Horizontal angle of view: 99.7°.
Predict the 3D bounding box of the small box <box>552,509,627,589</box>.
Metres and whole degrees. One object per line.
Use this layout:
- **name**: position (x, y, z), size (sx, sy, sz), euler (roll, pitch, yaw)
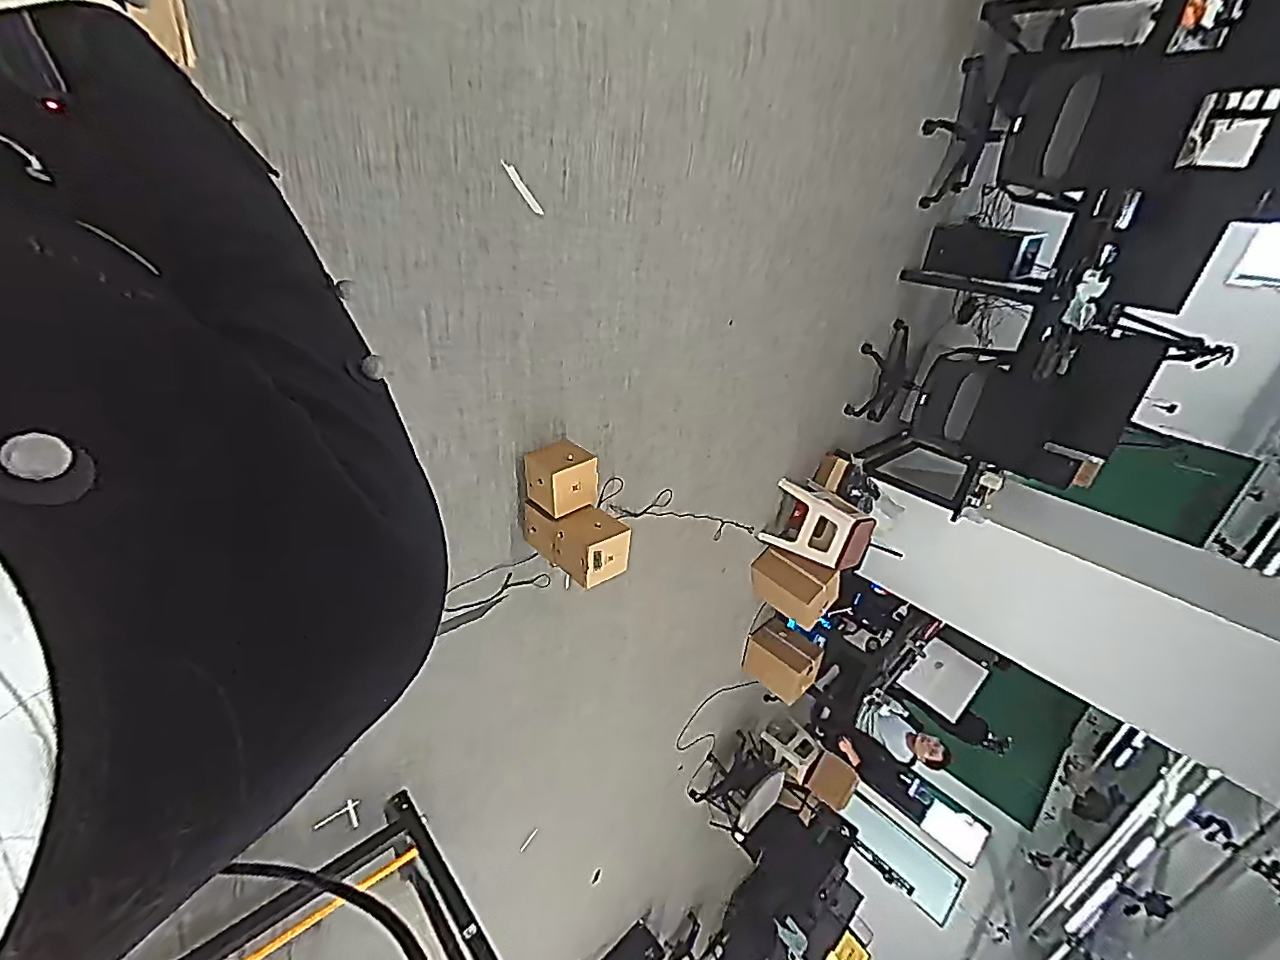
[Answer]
- **small box**: position (-0.167, 0.215, 1.740), size (0.179, 0.176, 0.168), euler (-19, 127, -41)
